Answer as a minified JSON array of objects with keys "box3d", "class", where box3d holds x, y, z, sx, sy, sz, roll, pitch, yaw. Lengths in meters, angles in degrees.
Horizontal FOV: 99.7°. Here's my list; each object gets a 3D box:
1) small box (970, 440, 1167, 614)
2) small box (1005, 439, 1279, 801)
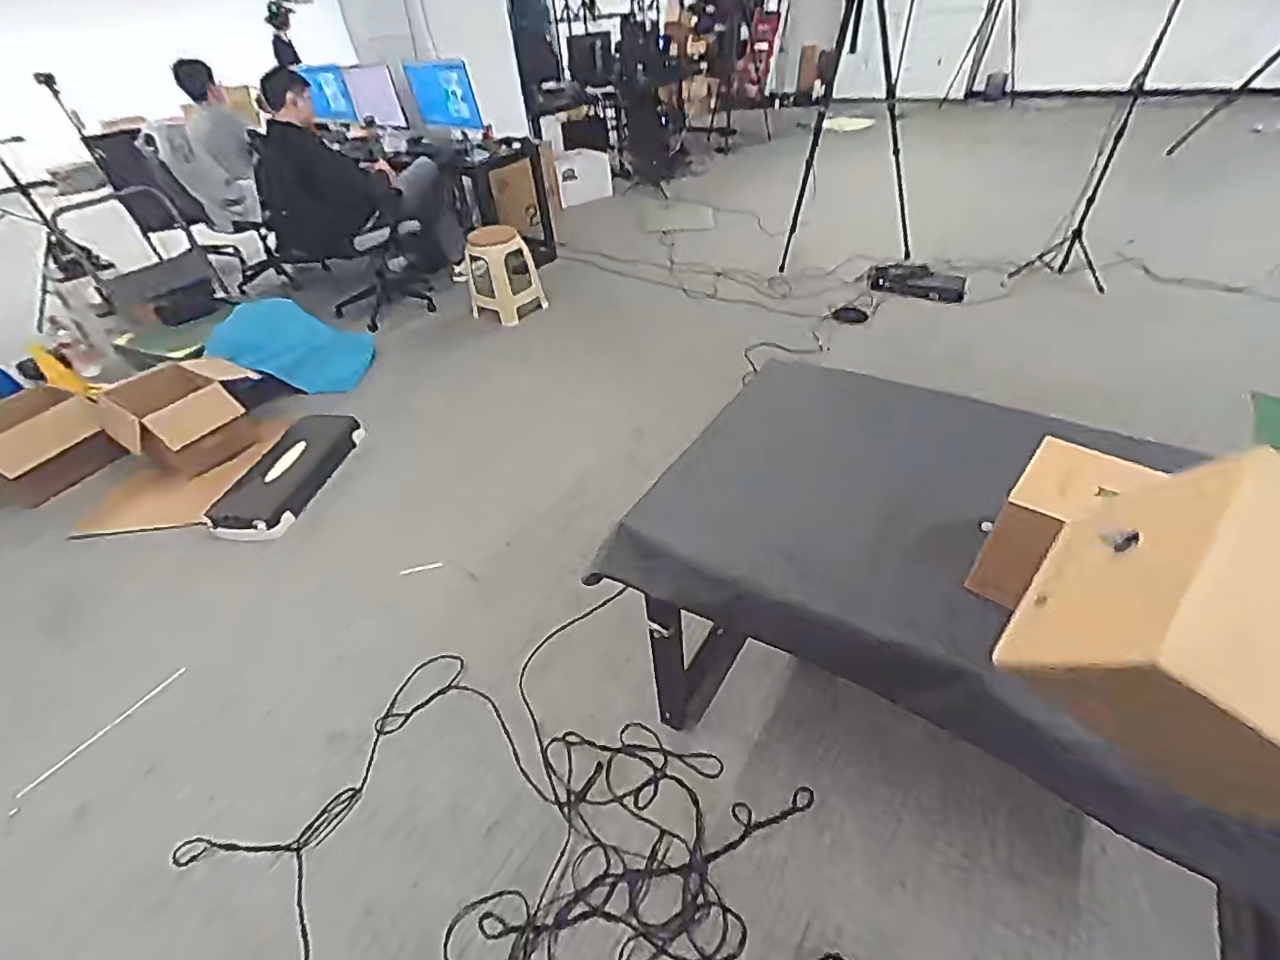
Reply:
[{"box3d":[0.559,0.083,0.684,0.179,0.176,0.168,28,50,34],"class":"small box"},{"box3d":[0.411,0.107,0.381,0.179,0.176,0.168,35,77,12],"class":"small box"}]
